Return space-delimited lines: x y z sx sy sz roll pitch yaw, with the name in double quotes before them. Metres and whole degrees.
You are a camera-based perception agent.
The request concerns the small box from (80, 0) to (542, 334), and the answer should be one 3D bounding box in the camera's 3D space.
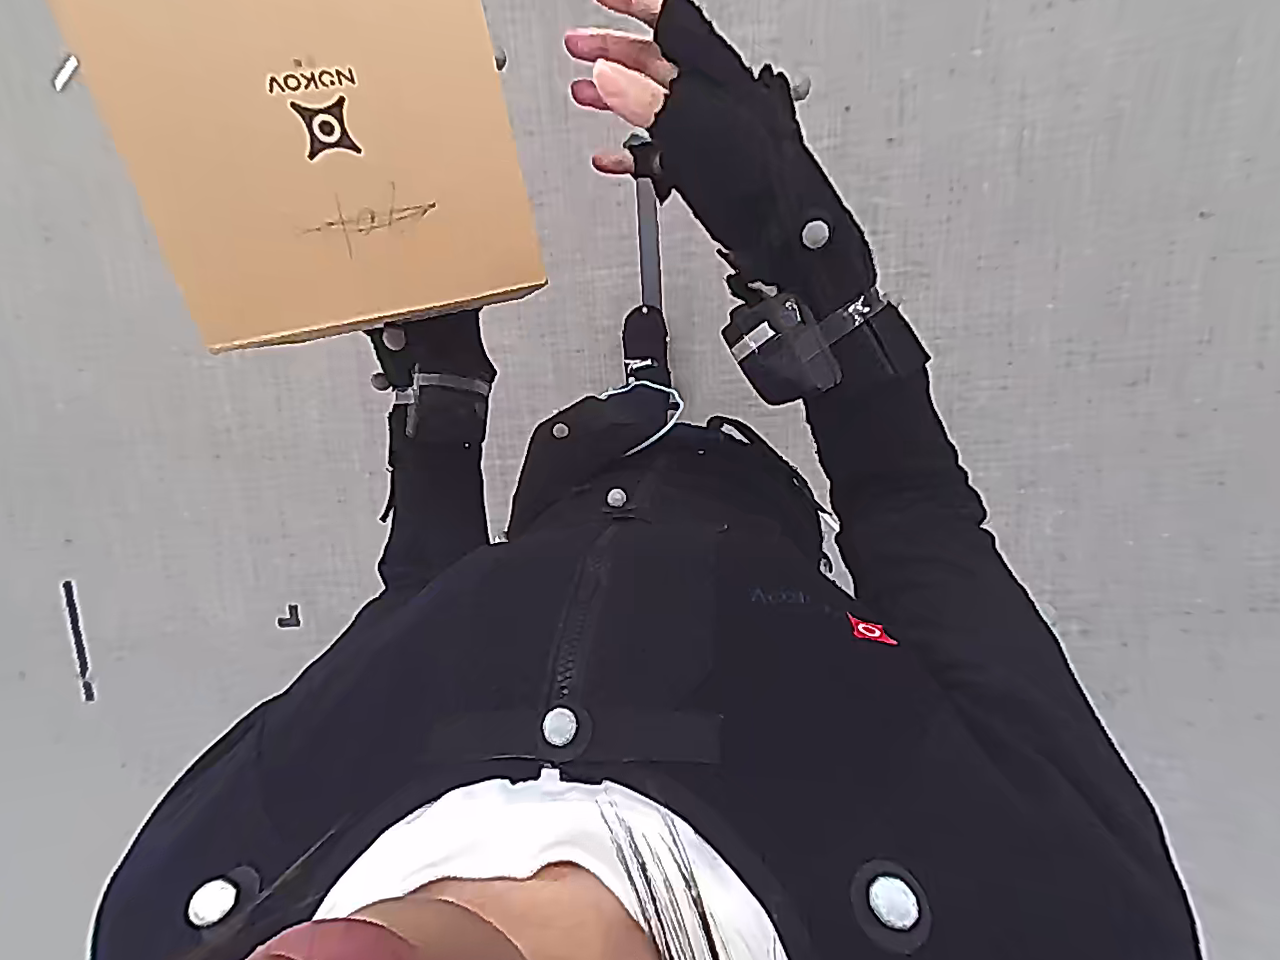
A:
"small box" -0.168 -0.192 0.331 0.168 0.176 0.179 -16 110 -11
